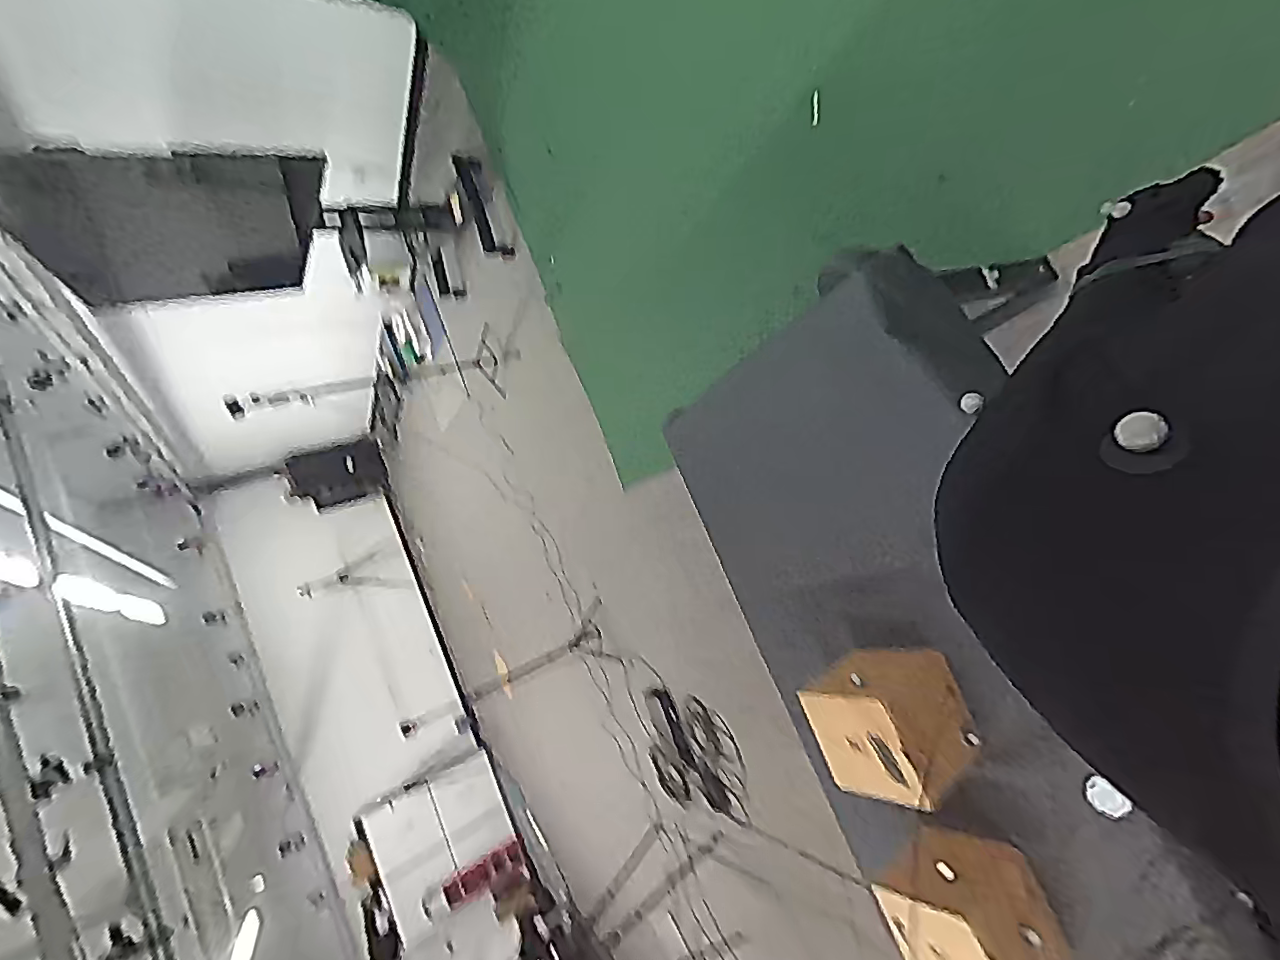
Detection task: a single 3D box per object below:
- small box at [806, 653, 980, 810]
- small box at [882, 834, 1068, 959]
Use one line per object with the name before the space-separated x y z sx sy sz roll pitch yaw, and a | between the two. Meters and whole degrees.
small box | 0.416 0.393 0.882 0.179 0.176 0.168 -33 78 58
small box | 0.534 0.702 0.857 0.179 0.176 0.168 -37 74 56
